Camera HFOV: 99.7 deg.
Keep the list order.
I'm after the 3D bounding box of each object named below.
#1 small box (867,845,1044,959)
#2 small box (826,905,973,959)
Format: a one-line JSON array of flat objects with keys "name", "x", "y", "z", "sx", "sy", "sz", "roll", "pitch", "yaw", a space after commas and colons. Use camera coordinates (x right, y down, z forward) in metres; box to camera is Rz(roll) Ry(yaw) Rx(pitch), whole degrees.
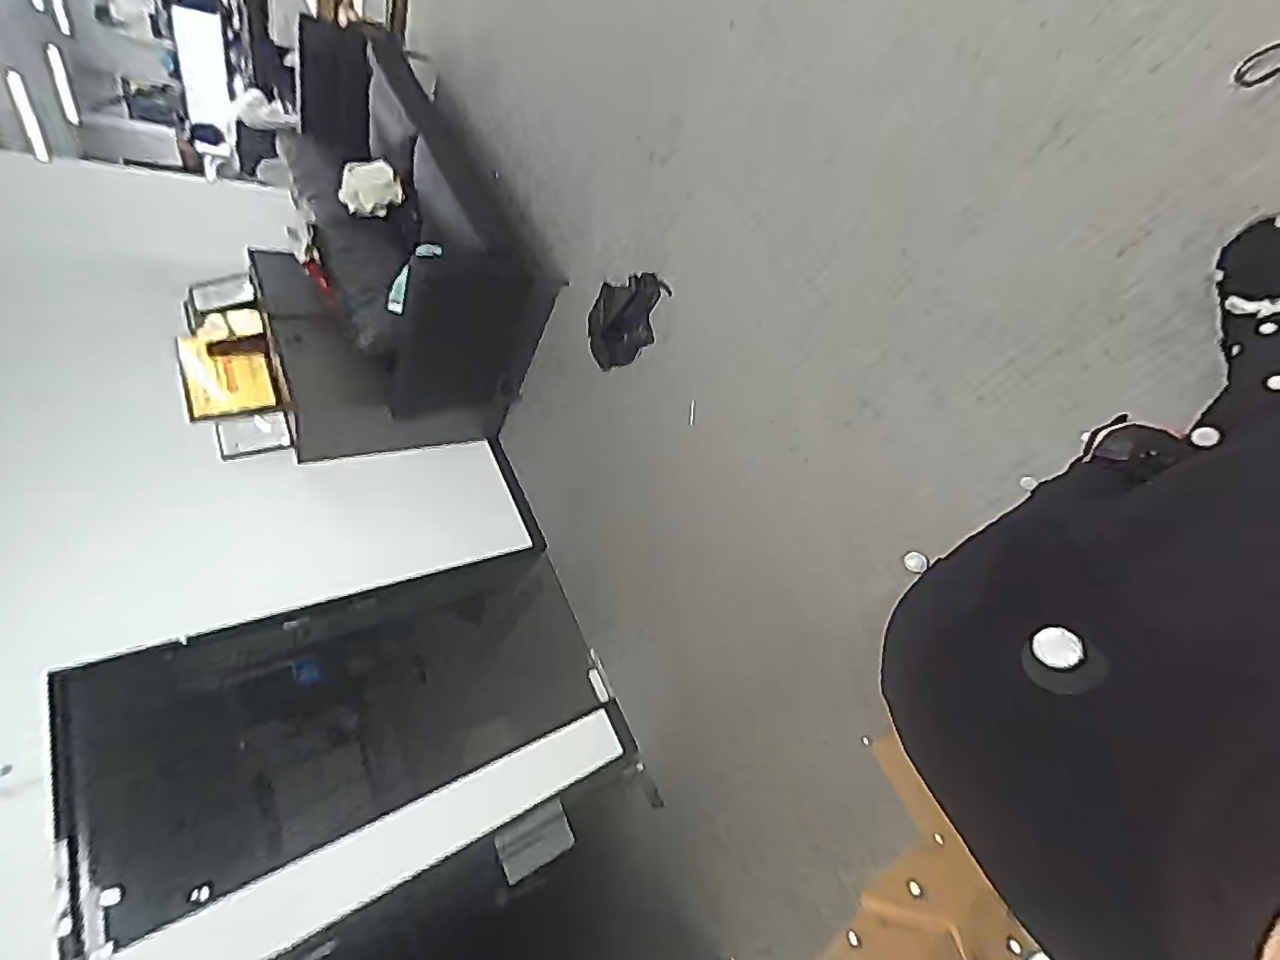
[{"name": "small box", "x": 0.535, "y": 0.759, "z": 0.921, "sx": 0.179, "sy": 0.176, "sz": 0.168, "roll": -35, "pitch": 71, "yaw": 51}, {"name": "small box", "x": 0.412, "y": 0.798, "z": 0.821, "sx": 0.168, "sy": 0.176, "sz": 0.179, "roll": -40, "pitch": 68, "yaw": 51}]
